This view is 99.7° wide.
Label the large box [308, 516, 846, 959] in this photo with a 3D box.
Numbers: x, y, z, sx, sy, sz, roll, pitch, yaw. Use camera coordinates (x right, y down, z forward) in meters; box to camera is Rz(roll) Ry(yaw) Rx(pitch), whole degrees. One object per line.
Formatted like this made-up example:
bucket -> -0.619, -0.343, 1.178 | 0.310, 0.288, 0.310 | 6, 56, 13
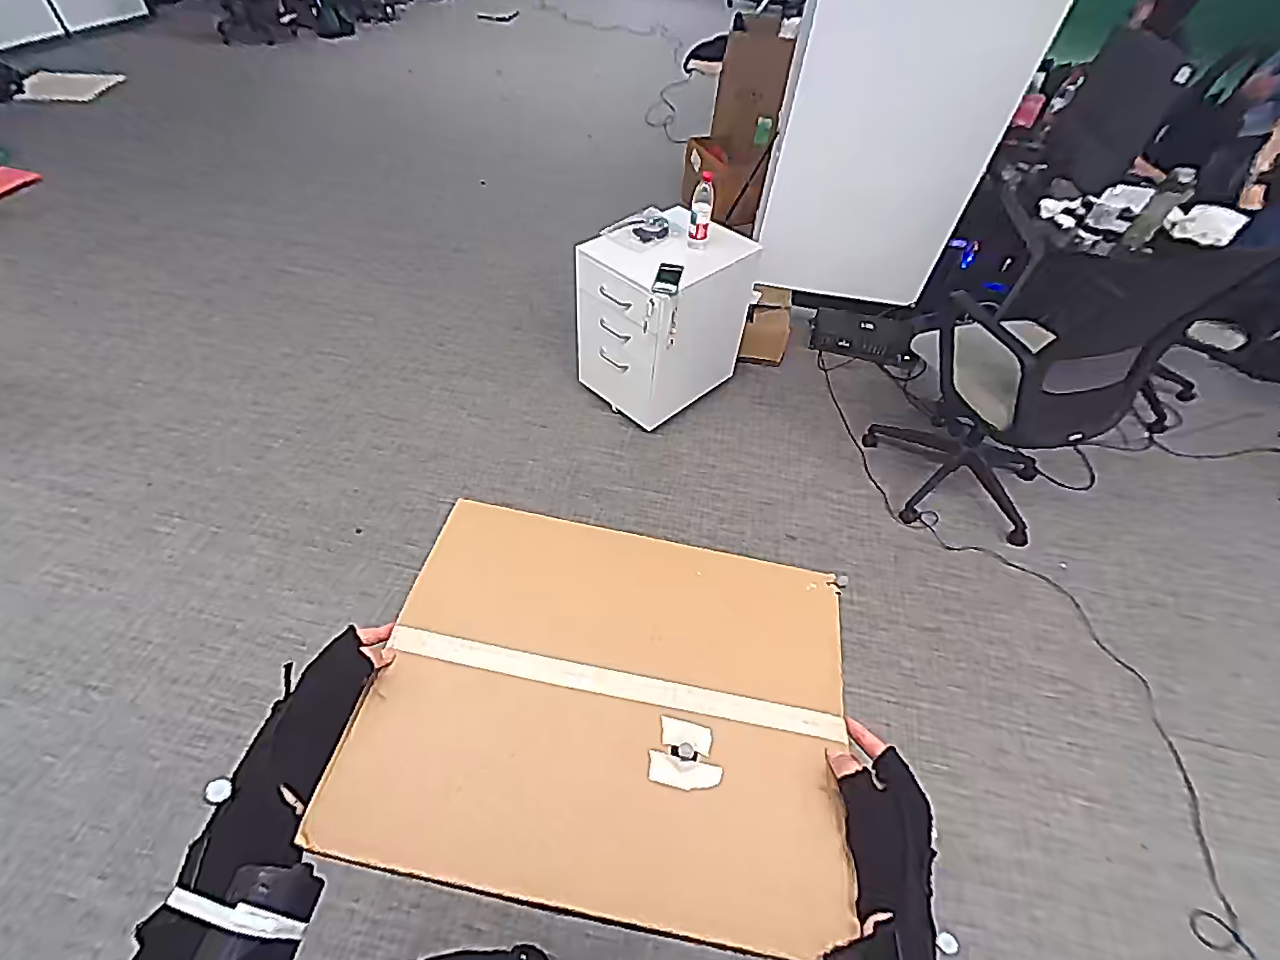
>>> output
large box -> -0.041, 0.281, 0.593 | 0.408, 0.320, 0.320 | 12, 52, 1
